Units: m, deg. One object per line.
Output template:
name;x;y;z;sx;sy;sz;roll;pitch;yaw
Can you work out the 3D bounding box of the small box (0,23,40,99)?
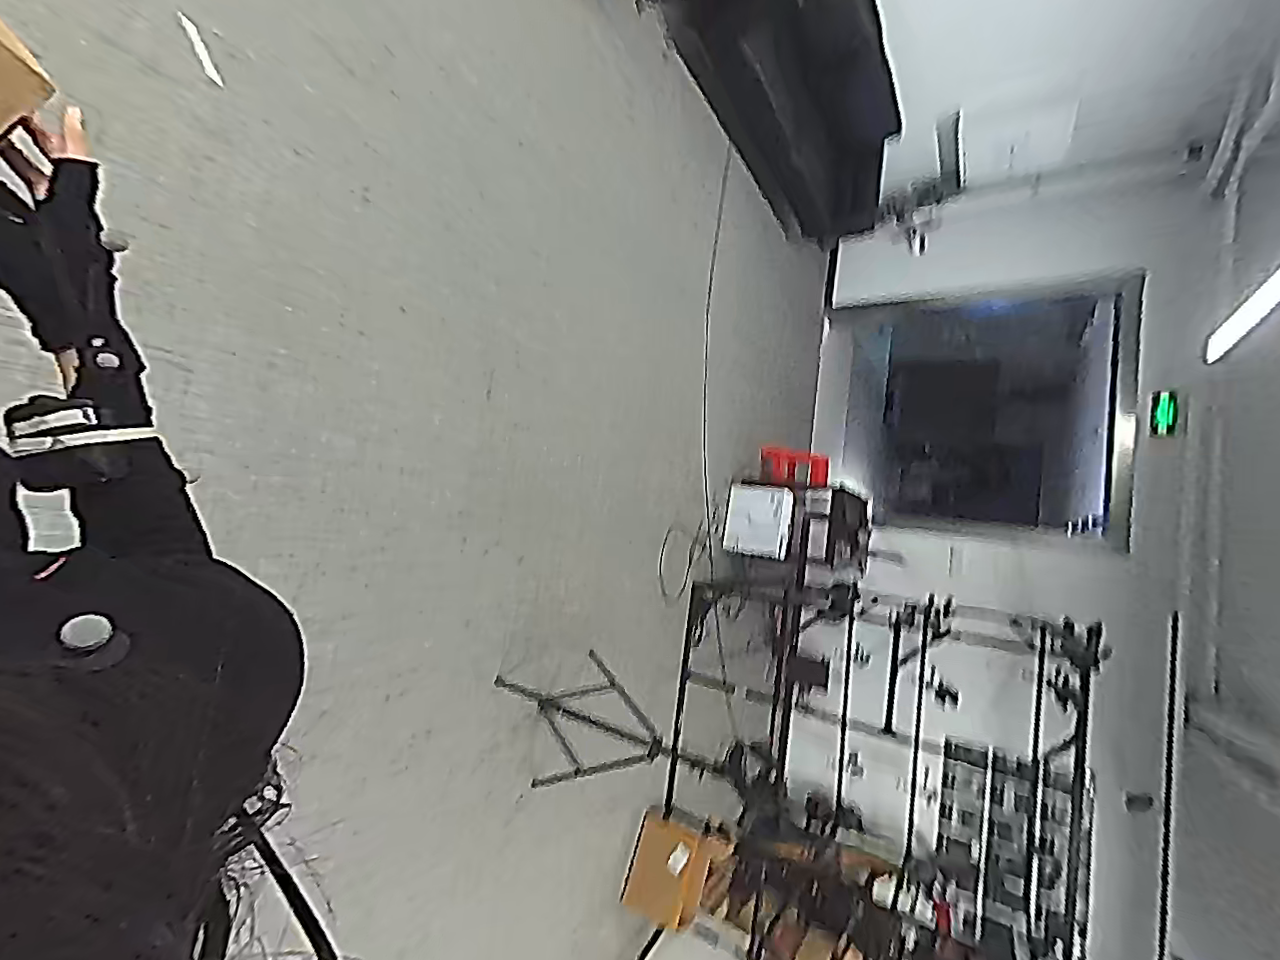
small box;-0.527;-0.293;0.301;0.168;0.176;0.179;-50;161;-4
